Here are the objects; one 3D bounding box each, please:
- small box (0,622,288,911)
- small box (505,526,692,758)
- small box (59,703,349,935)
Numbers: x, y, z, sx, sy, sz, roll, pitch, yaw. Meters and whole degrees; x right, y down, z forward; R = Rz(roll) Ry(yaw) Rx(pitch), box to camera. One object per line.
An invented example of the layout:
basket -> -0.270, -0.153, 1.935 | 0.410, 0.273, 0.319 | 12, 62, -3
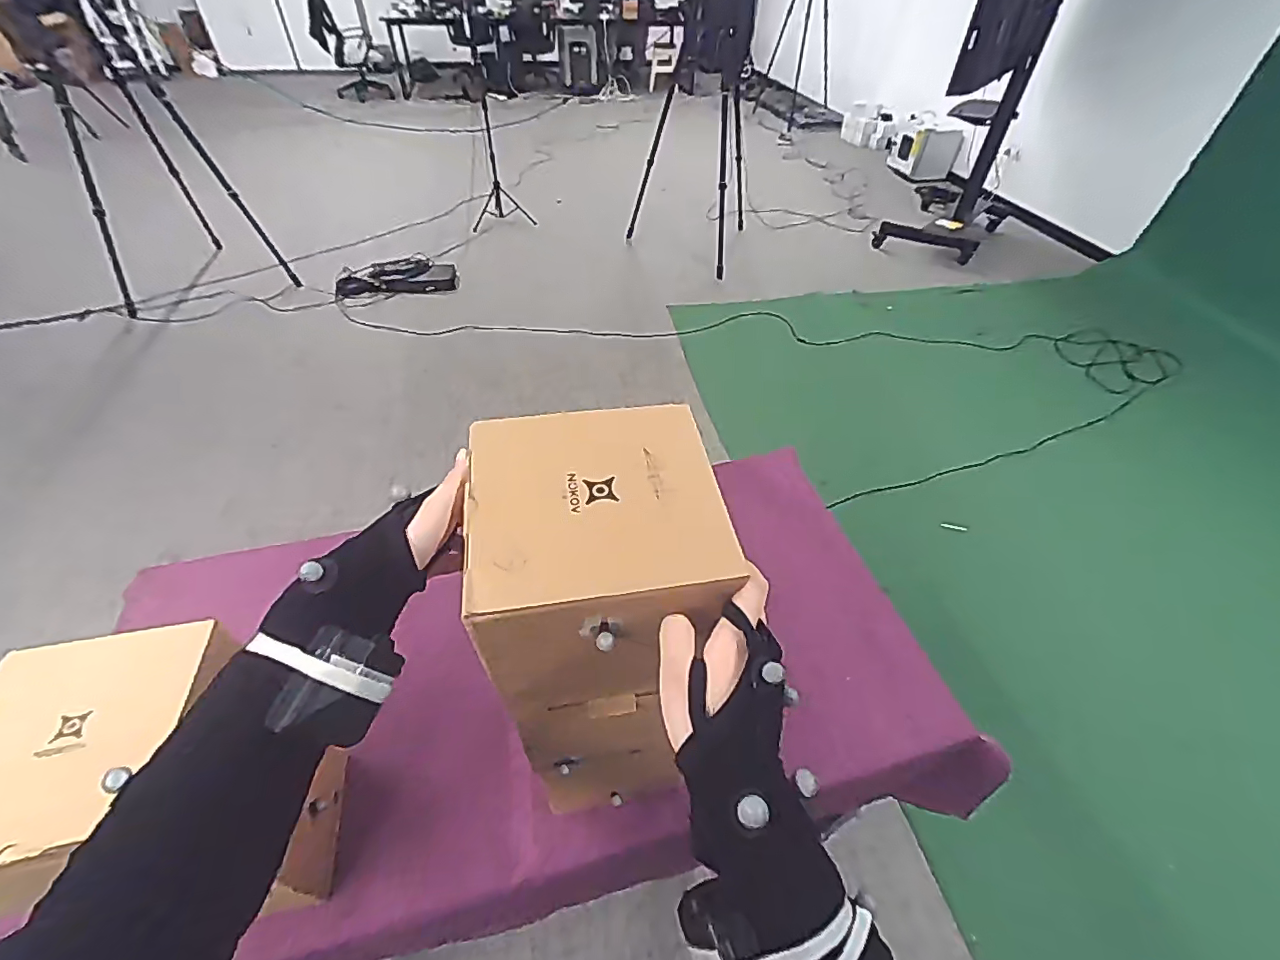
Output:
small box -> -0.455, 0.259, 0.493 | 0.168, 0.176, 0.179 | -8, 47, -9
small box -> -0.046, 0.176, 0.575 | 0.168, 0.176, 0.179 | -6, 45, -7
small box -> -0.451, 0.378, 0.605 | 0.179, 0.176, 0.168 | -9, 46, -10
